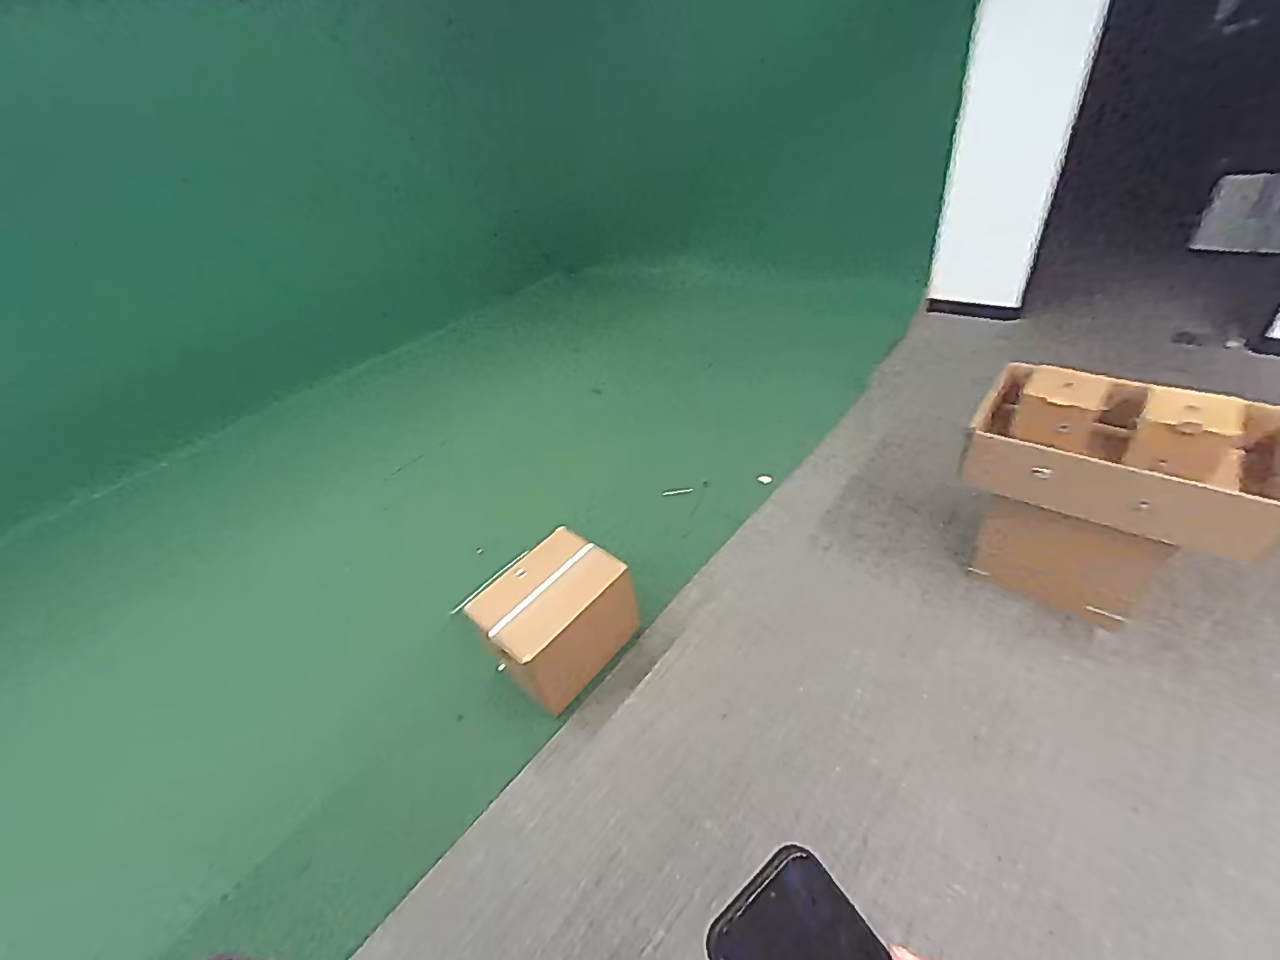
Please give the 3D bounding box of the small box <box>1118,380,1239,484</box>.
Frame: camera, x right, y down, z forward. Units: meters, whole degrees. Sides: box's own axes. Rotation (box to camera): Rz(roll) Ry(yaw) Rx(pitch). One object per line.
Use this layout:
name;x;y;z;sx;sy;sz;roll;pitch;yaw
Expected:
small box;1.333;-0.122;1.346;0.168;0.176;0.179;21;50;35
